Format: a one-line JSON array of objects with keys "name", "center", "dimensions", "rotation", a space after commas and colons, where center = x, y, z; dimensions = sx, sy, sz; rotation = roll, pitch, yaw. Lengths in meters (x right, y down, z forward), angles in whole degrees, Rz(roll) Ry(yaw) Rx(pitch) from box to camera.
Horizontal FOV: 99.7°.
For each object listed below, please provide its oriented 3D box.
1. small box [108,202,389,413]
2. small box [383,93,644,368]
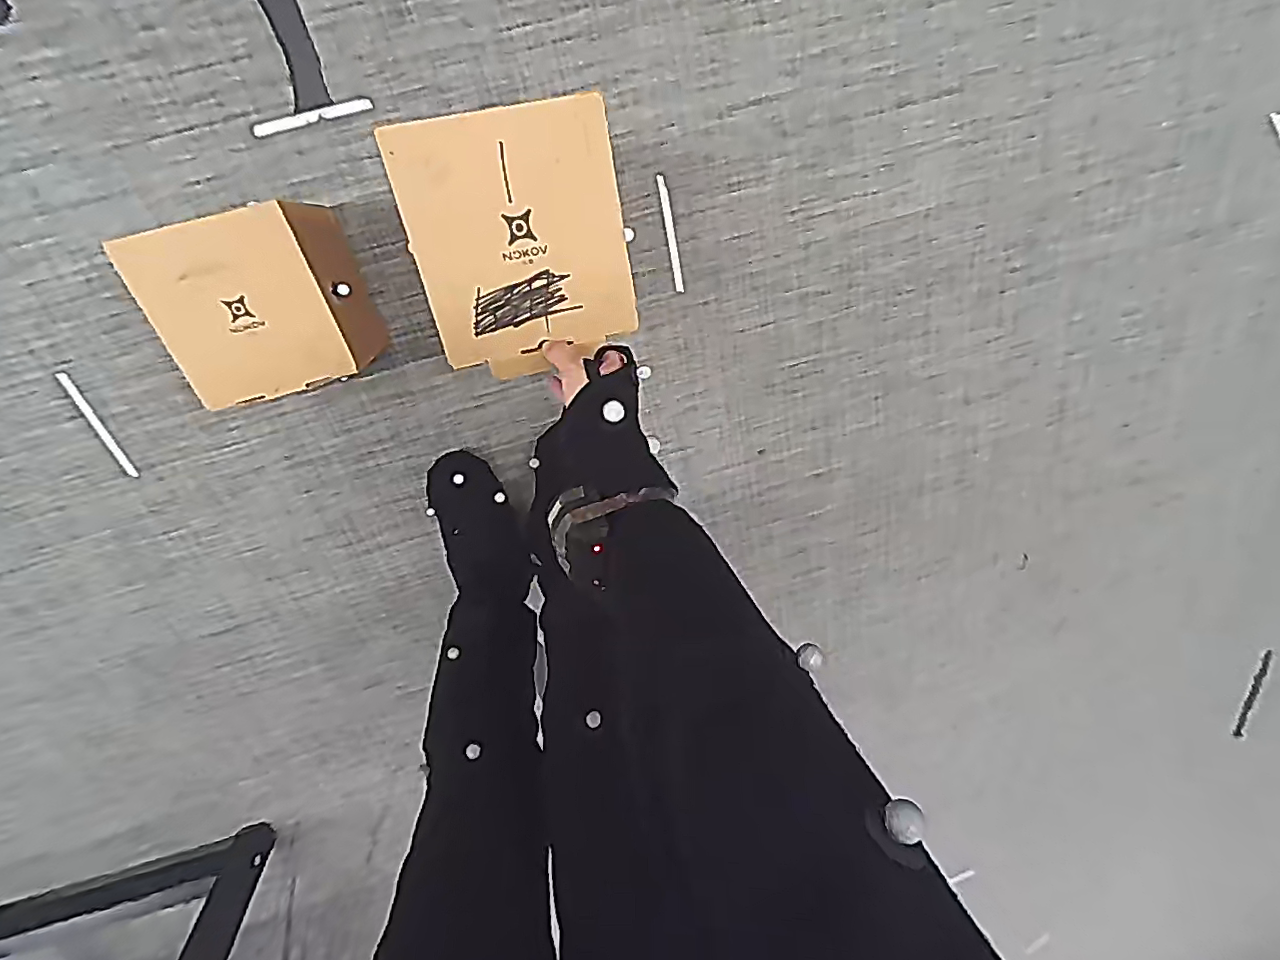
[{"name": "small box", "center": [-0.412, -0.201, 0.614], "dimensions": [0.168, 0.176, 0.179], "rotation": [-18, 116, -5]}, {"name": "small box", "center": [-0.101, -0.218, 0.487], "dimensions": [0.168, 0.176, 0.179], "rotation": [-13, 116, -6]}]
